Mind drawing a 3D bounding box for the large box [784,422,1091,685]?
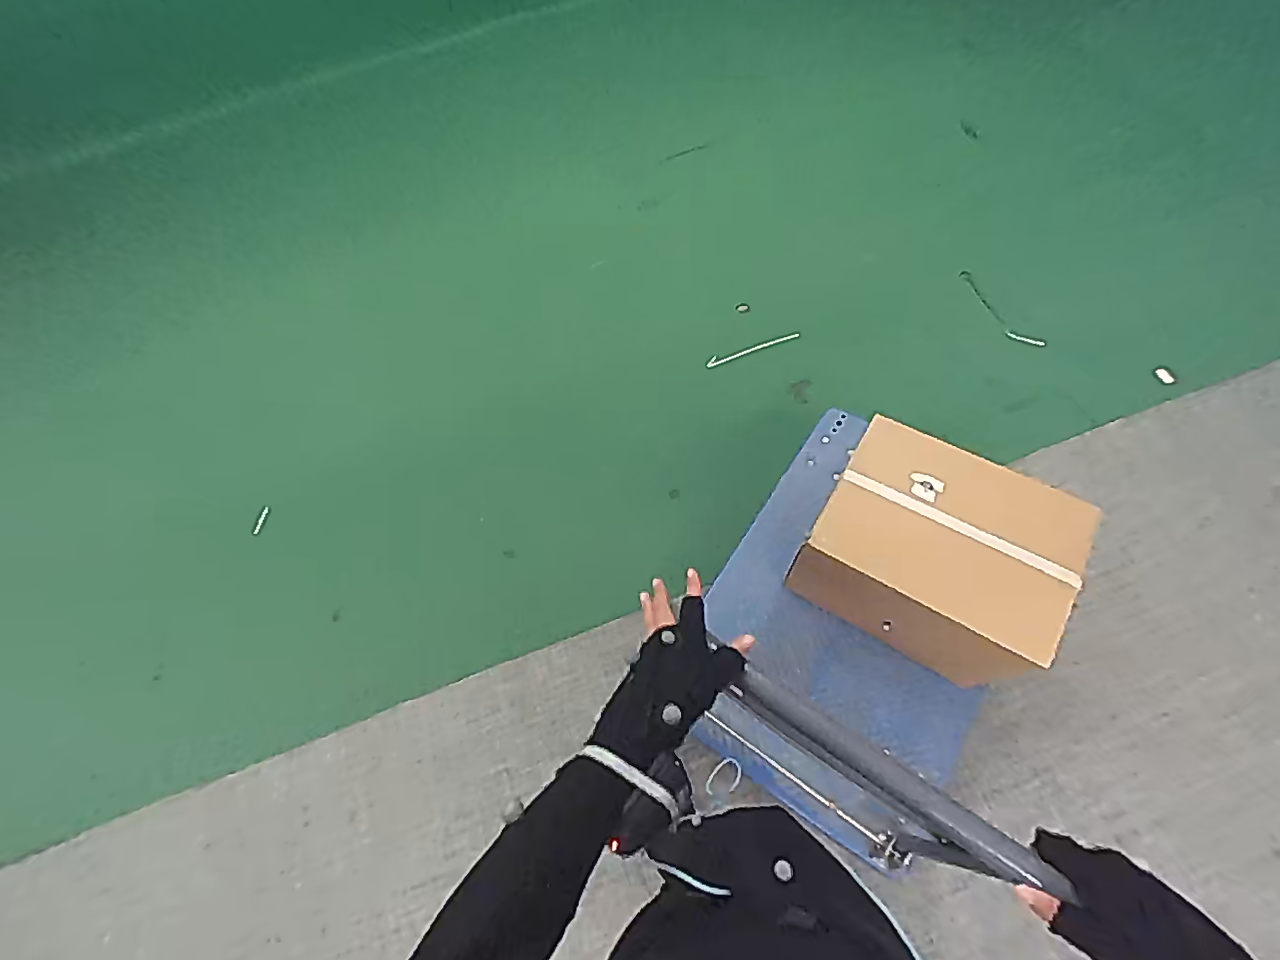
[{"bbox_3d":[0.550,0.154,1.075,0.408,0.320,0.320,28,70,20],"label":"large box"}]
